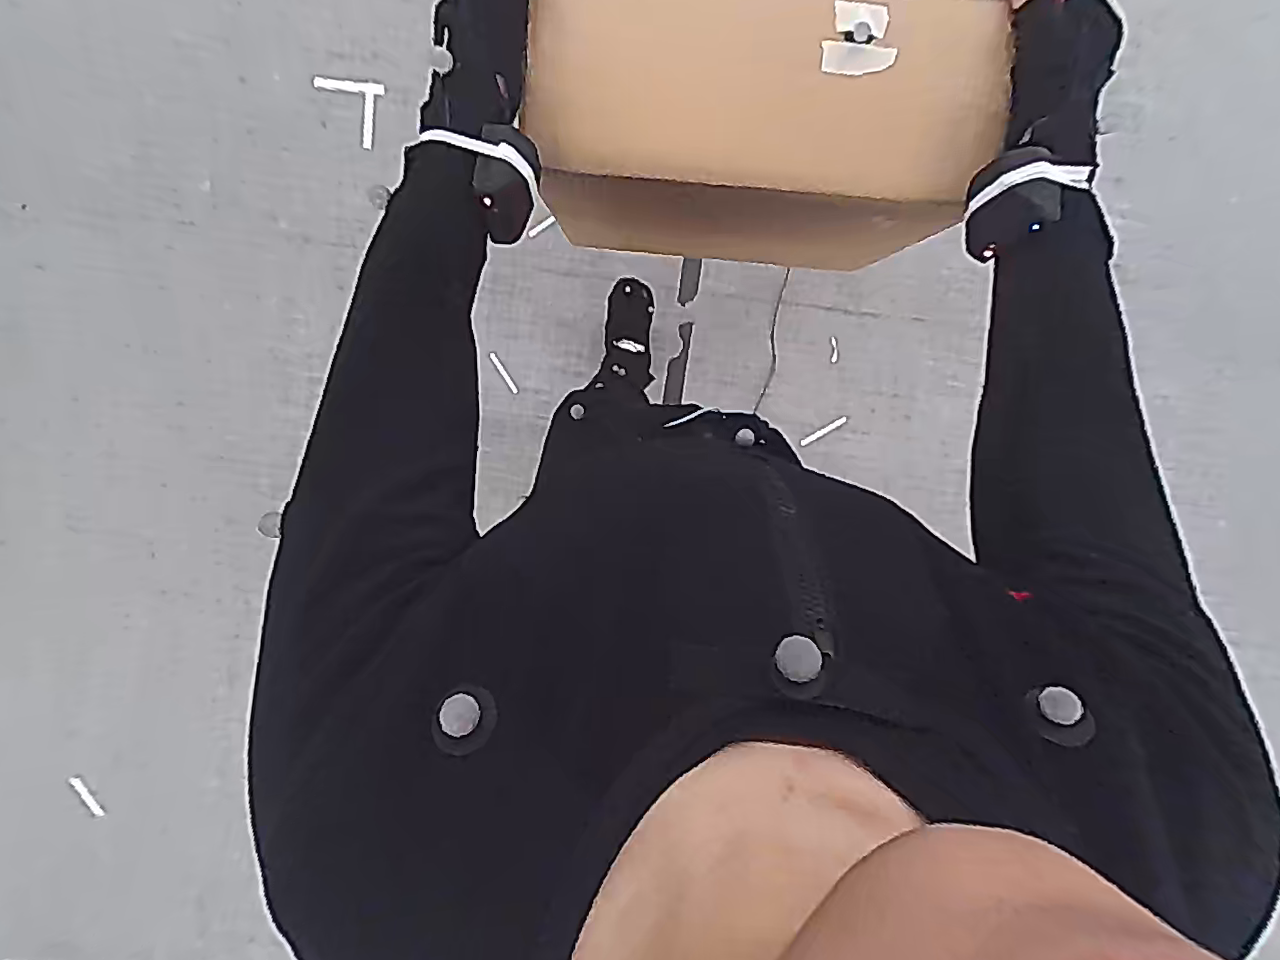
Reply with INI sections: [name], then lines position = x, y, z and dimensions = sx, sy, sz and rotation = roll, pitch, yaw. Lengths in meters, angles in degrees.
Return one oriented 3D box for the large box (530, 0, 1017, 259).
[large box]
position = 0.111, -0.441, 0.584
dimensions = 0.408, 0.320, 0.320
rotation = 5, 103, -1
